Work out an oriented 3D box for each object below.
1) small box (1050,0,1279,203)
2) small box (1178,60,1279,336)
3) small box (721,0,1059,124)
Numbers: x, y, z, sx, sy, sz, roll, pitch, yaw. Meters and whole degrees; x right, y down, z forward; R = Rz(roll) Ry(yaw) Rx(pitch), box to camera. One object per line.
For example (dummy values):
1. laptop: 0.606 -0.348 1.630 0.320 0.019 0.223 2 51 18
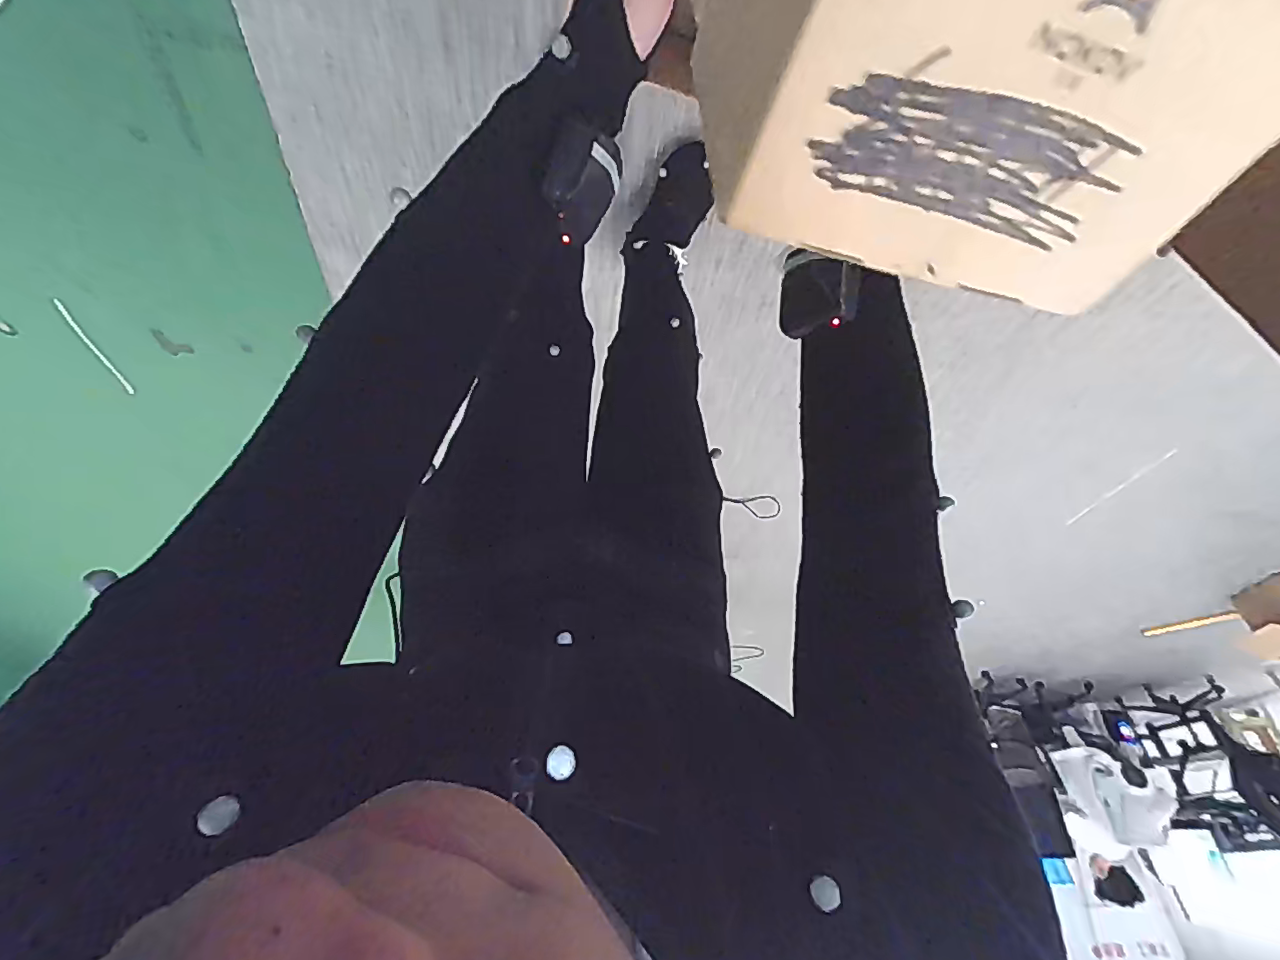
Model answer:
1. small box: 0.421 -0.288 0.343 0.168 0.176 0.179 9 144 -12
2. small box: 0.420 -0.153 0.251 0.168 0.176 0.179 9 142 -11
3. small box: 0.138 -0.334 0.276 0.168 0.176 0.179 9 144 -15
